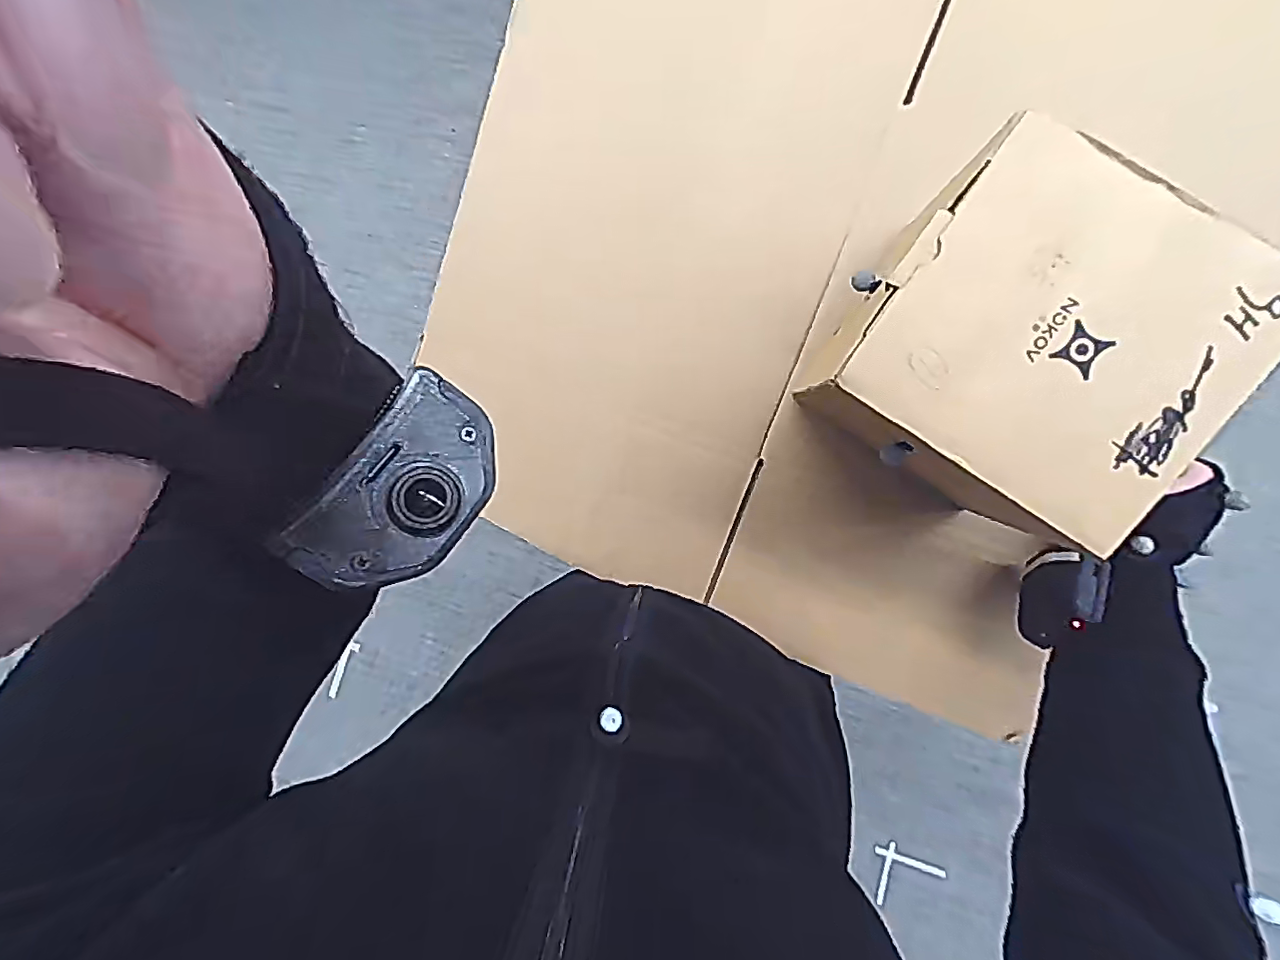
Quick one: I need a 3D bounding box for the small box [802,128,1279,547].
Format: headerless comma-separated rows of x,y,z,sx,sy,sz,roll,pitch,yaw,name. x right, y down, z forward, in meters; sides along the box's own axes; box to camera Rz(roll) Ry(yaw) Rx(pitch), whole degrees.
0.234,-0.081,0.370,0.179,0.176,0.168,35,100,4,small box
